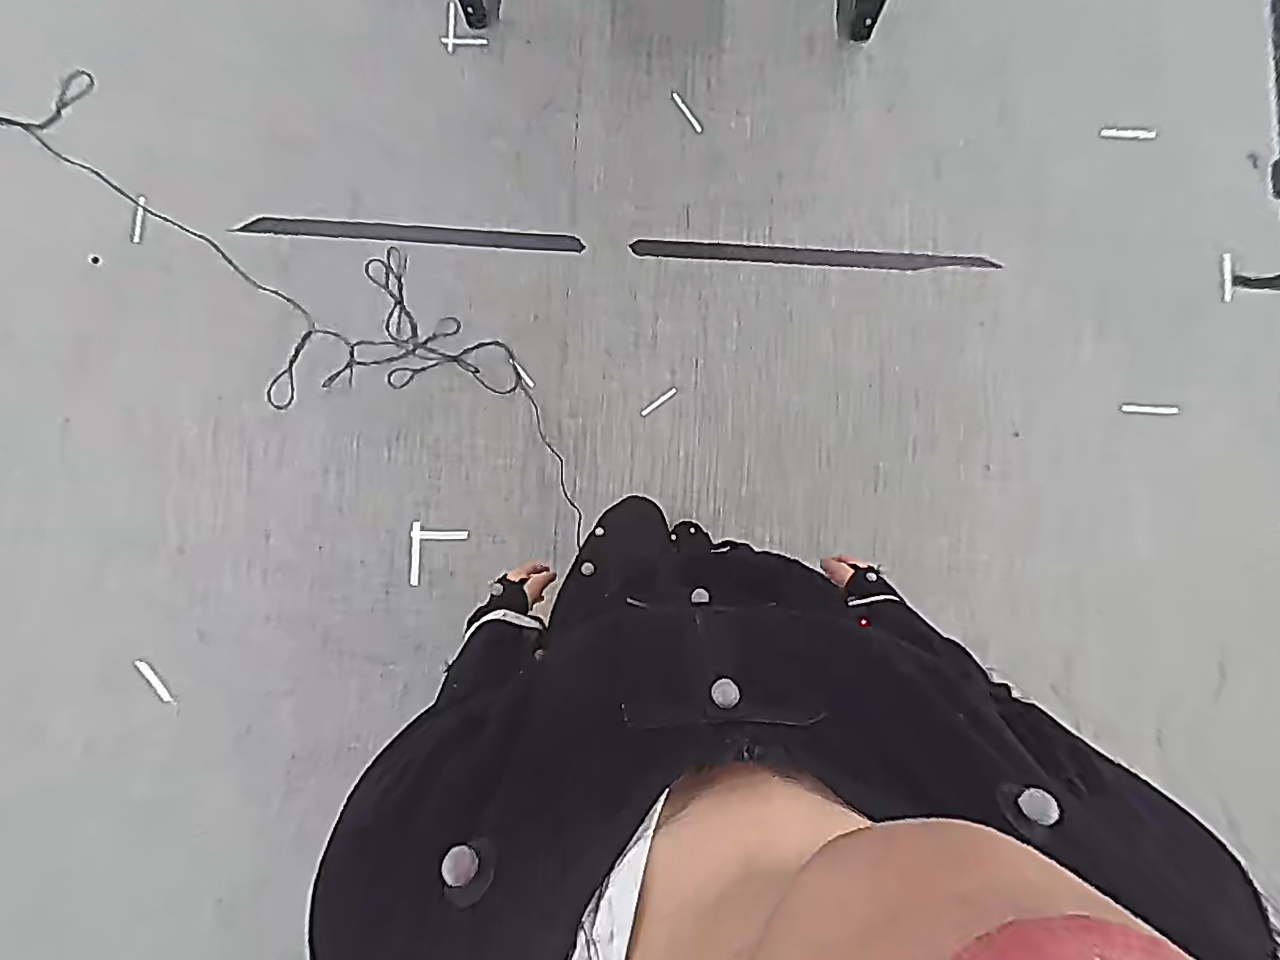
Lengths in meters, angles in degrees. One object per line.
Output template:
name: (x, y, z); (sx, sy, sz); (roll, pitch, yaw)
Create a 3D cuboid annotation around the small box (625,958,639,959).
small box: (0.033, 0.841, 0.770); (0.168, 0.176, 0.179); (8, 86, 2)
